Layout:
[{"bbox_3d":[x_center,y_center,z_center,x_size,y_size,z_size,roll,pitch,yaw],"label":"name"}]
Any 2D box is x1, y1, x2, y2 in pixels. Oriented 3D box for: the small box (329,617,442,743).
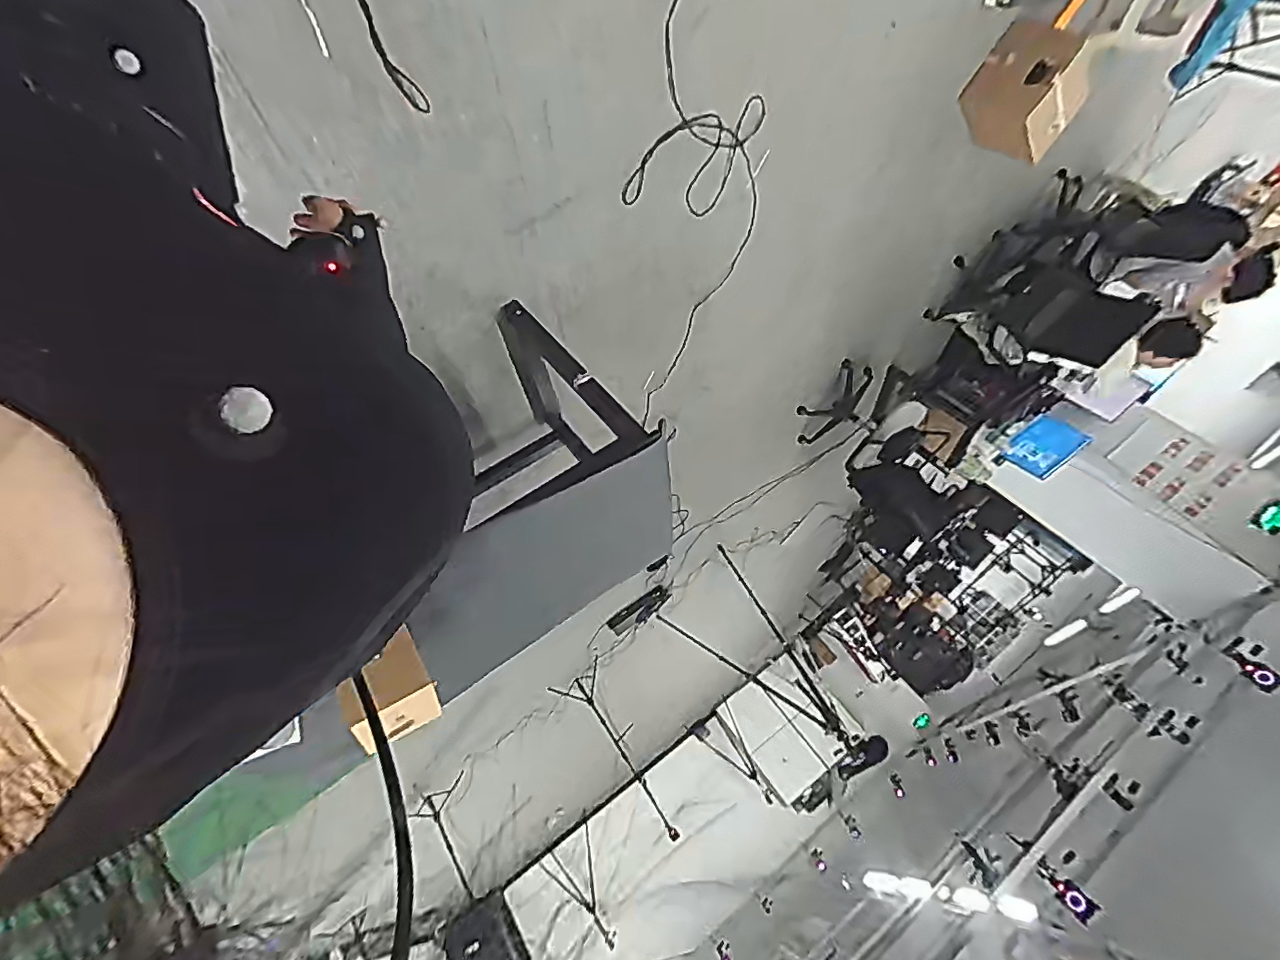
[{"bbox_3d":[-0.557,0.437,1.194,0.168,0.176,0.179,-25,146,-29],"label":"small box"}]
